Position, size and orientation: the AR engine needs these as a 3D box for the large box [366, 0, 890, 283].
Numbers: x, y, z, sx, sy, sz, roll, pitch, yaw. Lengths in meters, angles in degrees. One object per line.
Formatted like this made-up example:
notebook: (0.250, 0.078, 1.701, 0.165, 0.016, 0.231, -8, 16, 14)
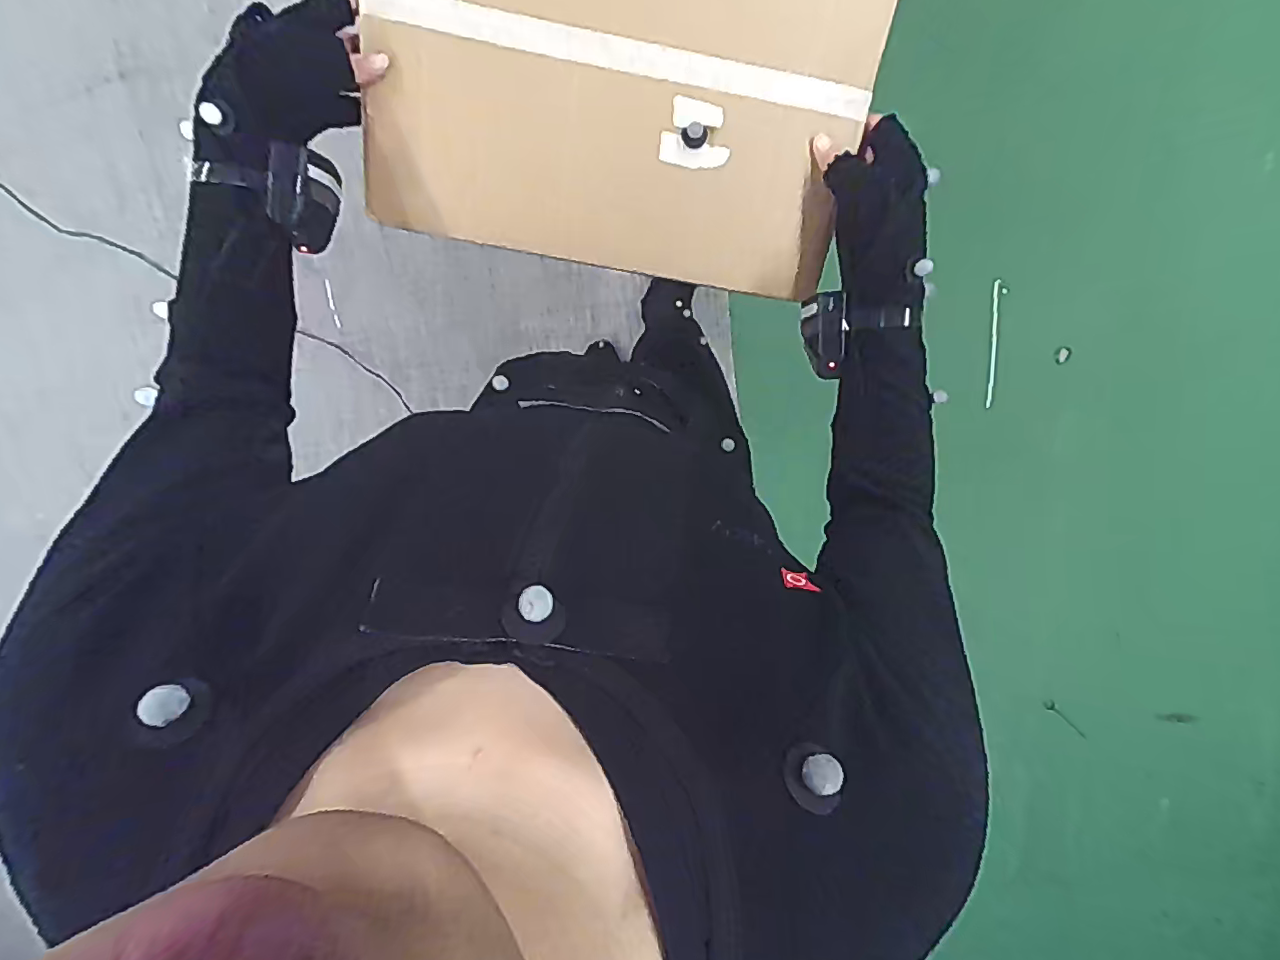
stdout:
large box: (-0.018, -0.401, 0.562, 0.408, 0.320, 0.320, 8, 112, -6)
